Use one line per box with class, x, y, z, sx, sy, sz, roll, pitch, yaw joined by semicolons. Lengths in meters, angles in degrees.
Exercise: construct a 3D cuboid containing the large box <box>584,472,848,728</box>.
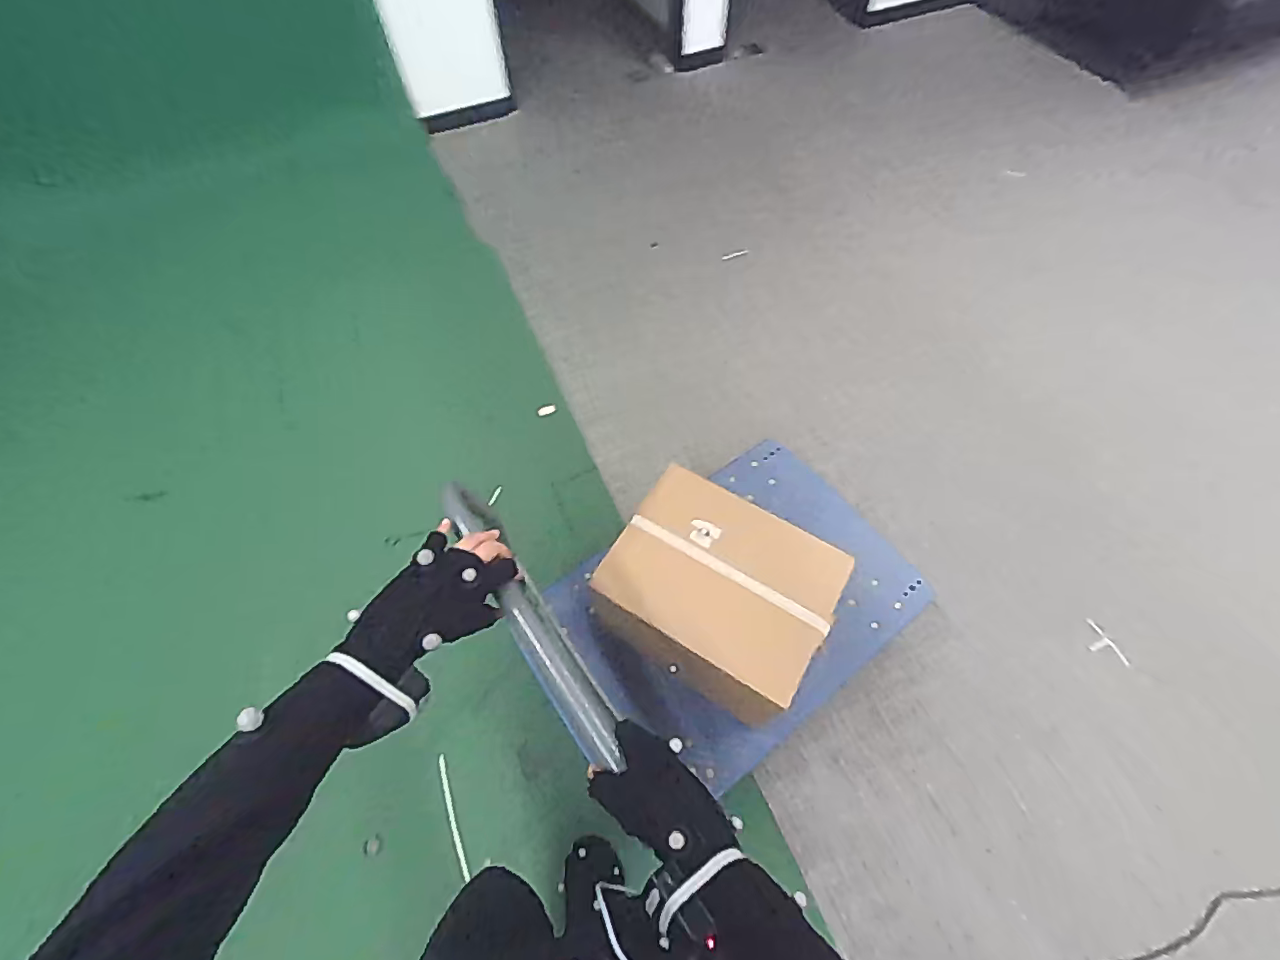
large box;0.149;0.256;1.128;0.408;0.320;0.320;29;63;17
